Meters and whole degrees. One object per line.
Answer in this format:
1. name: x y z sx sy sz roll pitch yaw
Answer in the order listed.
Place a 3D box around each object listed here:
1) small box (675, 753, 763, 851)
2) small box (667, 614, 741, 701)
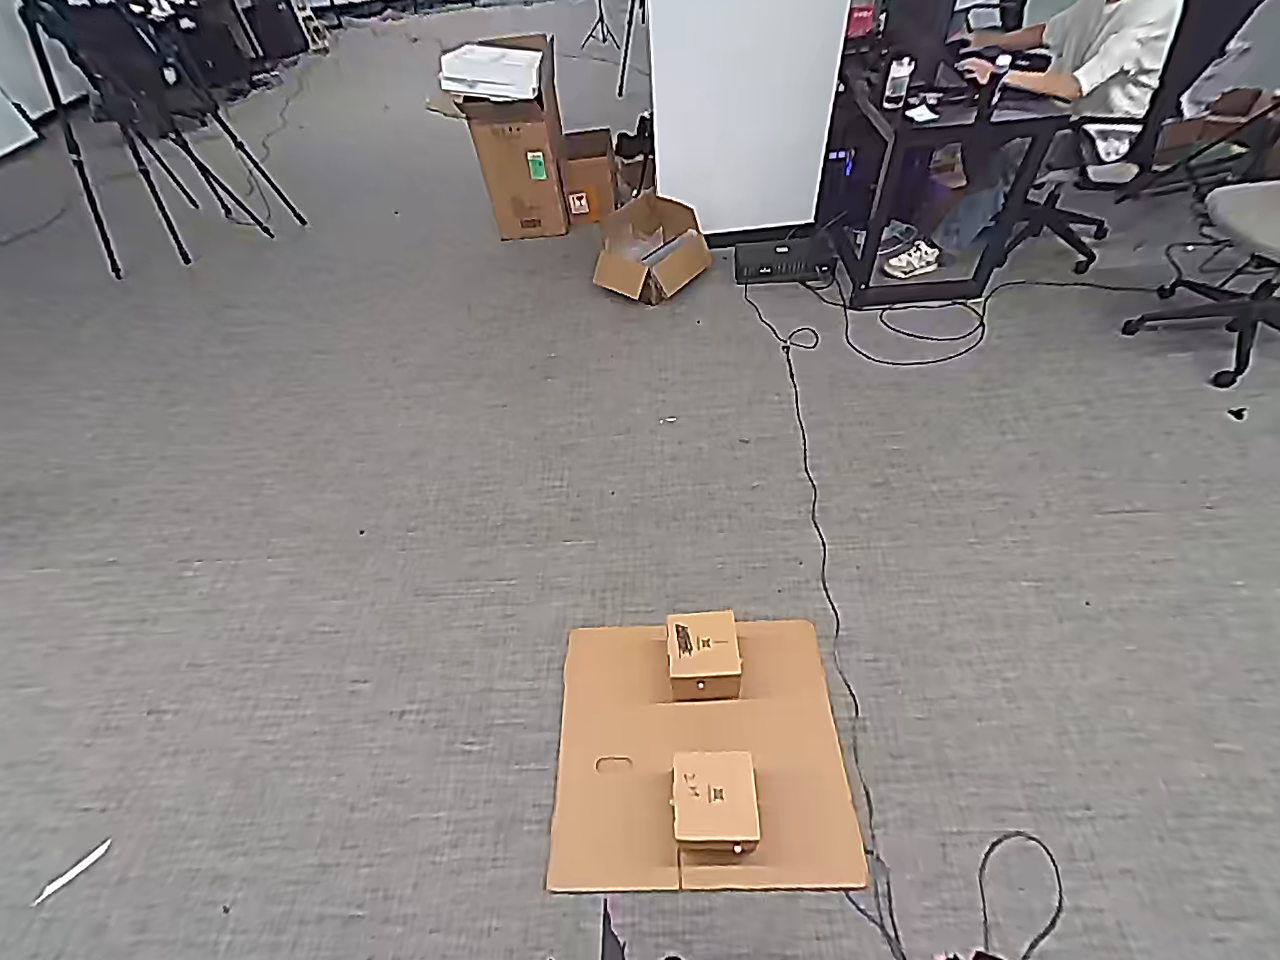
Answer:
1. small box: 0.171 0.718 1.203 0.179 0.176 0.168 -4 50 6
2. small box: 0.166 0.468 1.414 0.179 0.176 0.168 -5 50 4
